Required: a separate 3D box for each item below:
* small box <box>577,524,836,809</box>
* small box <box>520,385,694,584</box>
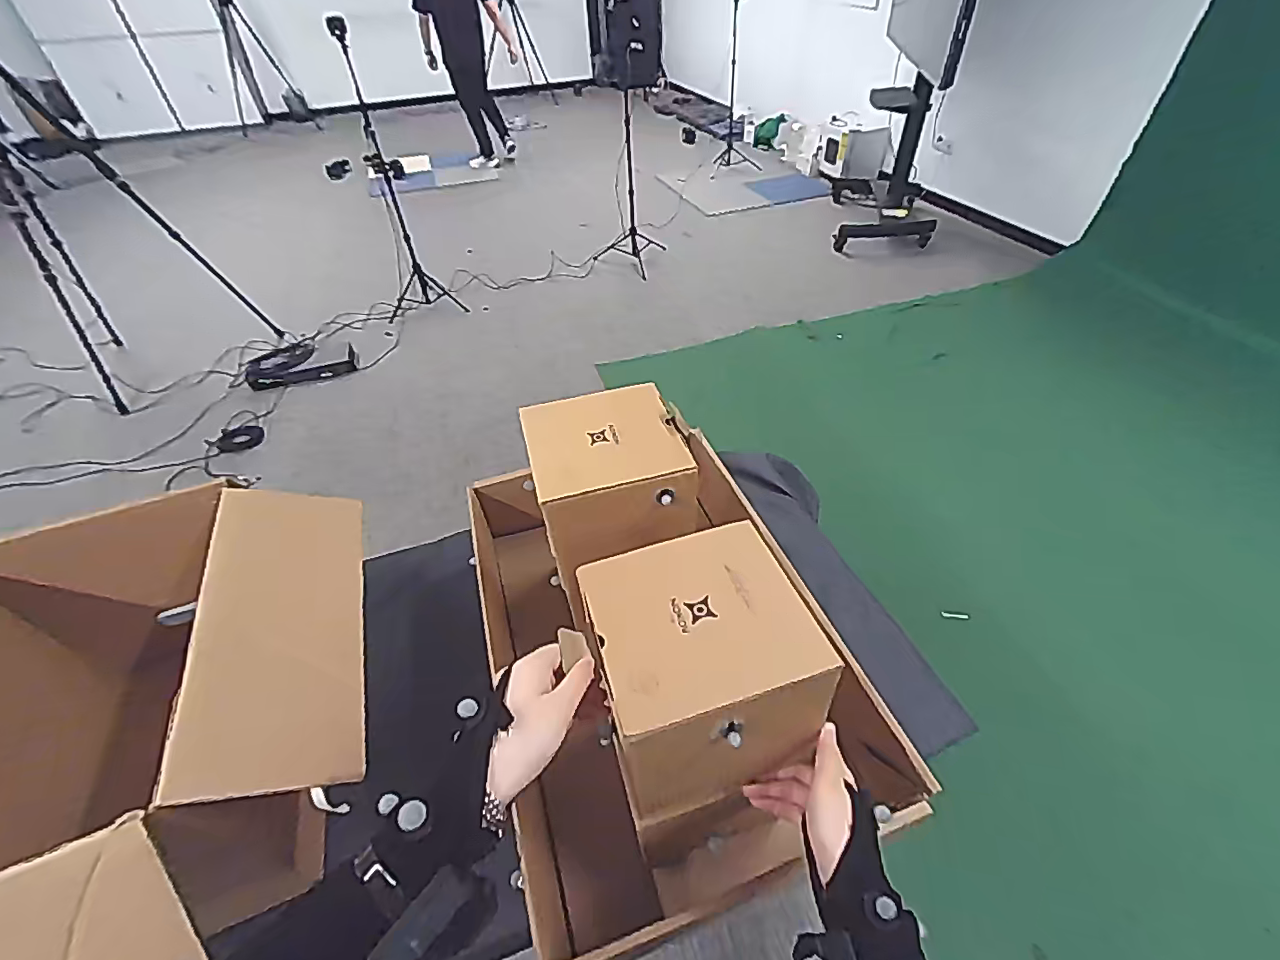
[{"bbox_3d":[0.053,0.174,0.506,0.179,0.176,0.168,-14,43,-11],"label":"small box"},{"bbox_3d":[-0.040,0.008,0.681,0.179,0.176,0.168,-13,47,-10],"label":"small box"}]
